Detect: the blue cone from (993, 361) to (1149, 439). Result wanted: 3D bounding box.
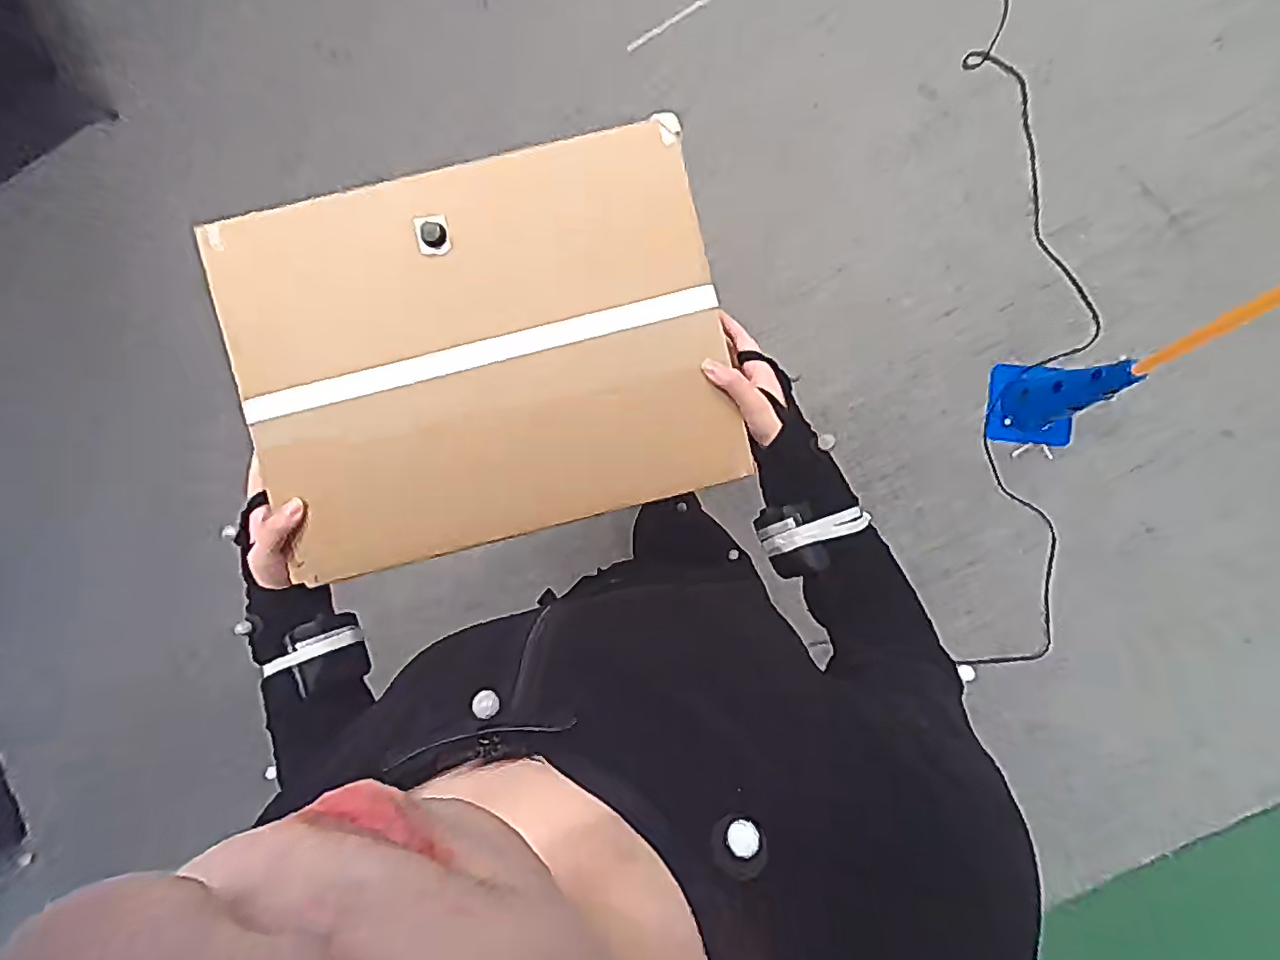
[{"bbox_3d":[0.973,-0.201,1.195,0.192,0.380,0.193,4,89,8],"label":"blue cone"}]
